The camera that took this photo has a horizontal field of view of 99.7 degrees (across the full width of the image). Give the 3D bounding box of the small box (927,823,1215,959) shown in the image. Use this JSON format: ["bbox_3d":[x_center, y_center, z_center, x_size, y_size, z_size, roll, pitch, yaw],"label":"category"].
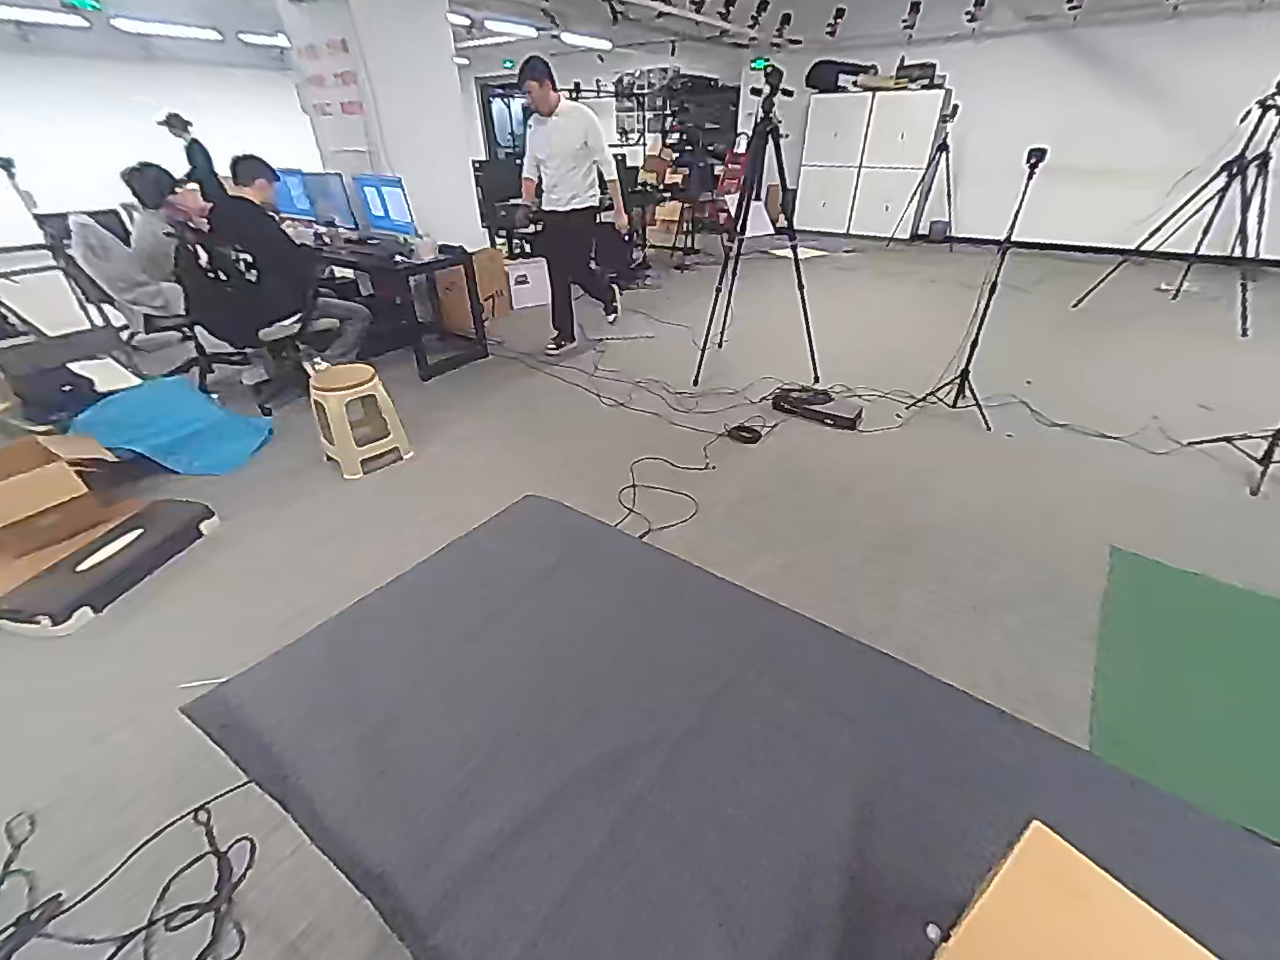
[{"bbox_3d":[0.326,0.427,0.420,0.179,0.176,0.168,-23,39,-30],"label":"small box"}]
